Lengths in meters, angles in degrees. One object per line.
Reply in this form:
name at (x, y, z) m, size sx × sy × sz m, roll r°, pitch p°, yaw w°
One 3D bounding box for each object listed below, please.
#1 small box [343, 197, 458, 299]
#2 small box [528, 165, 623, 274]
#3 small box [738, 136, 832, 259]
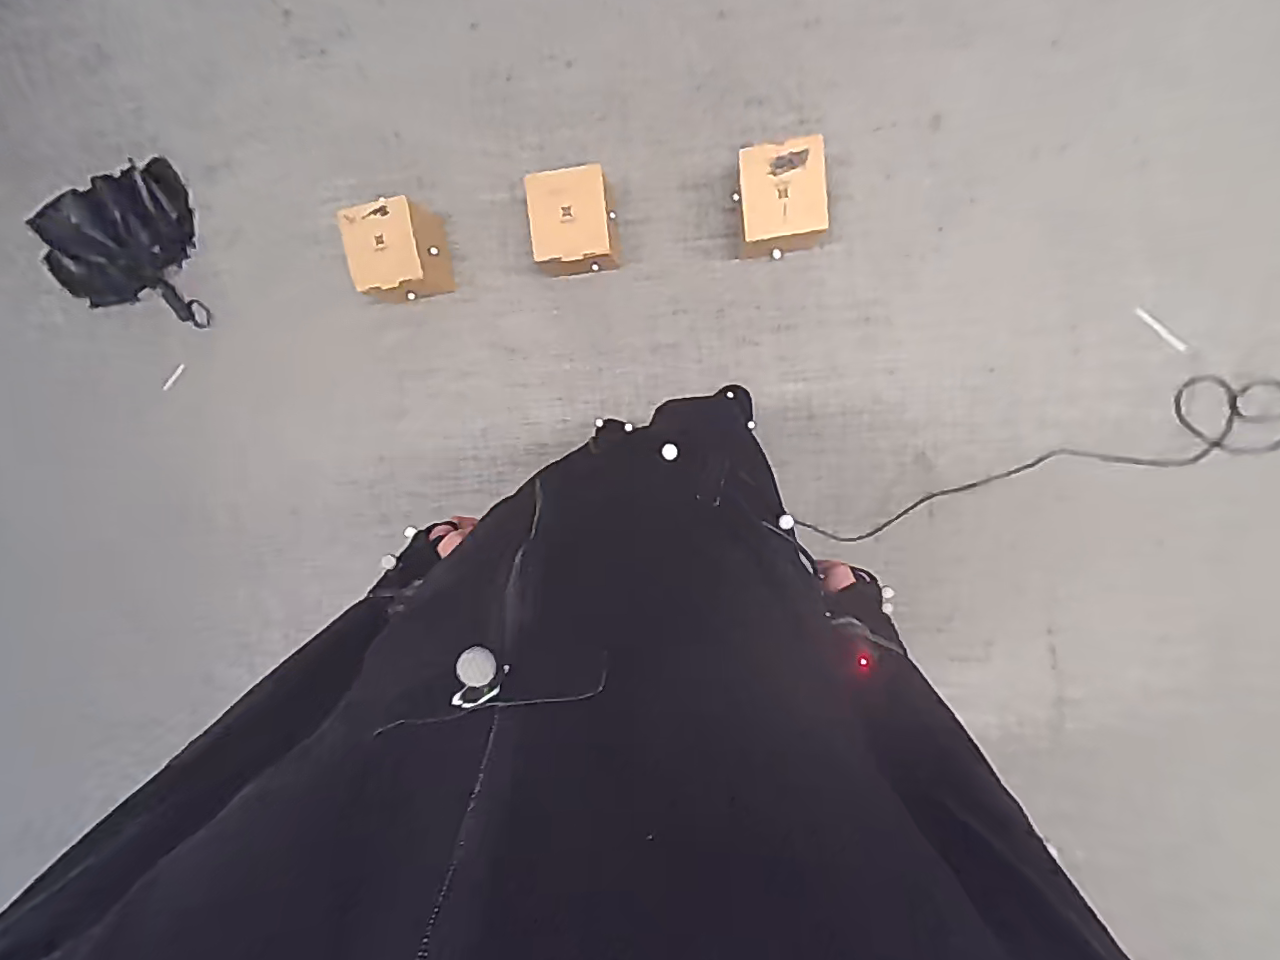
small box at (-0.546, -0.528, 1.261) m, size 0.168 × 0.176 × 0.179 m, roll -9°, pitch 99°, yaw 8°
small box at (-0.135, -0.568, 1.206) m, size 0.168 × 0.176 × 0.179 m, roll -5°, pitch 98°, yaw 6°
small box at (0.301, -0.587, 1.145) m, size 0.168 × 0.176 × 0.179 m, roll -6°, pitch 100°, yaw 9°
